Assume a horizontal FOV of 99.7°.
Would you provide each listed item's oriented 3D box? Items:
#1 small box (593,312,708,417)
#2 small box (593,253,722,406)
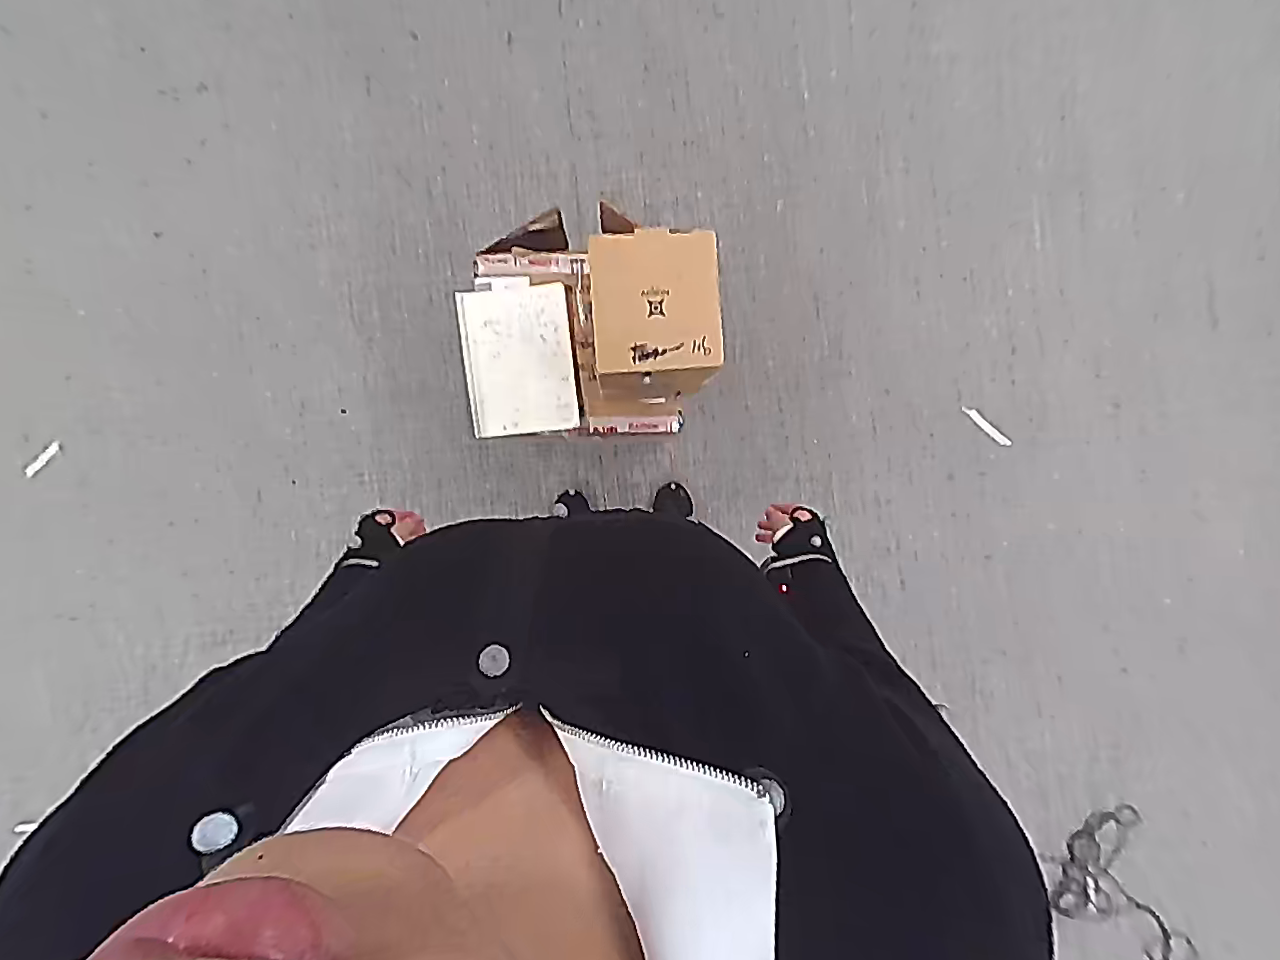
[{"bbox_3d":[0.014,-0.205,0.951,0.179,0.176,0.168,-6,92,-2],"label":"small box"},{"bbox_3d":[0.018,-0.208,0.786,0.168,0.176,0.179,-4,92,-3],"label":"small box"}]
